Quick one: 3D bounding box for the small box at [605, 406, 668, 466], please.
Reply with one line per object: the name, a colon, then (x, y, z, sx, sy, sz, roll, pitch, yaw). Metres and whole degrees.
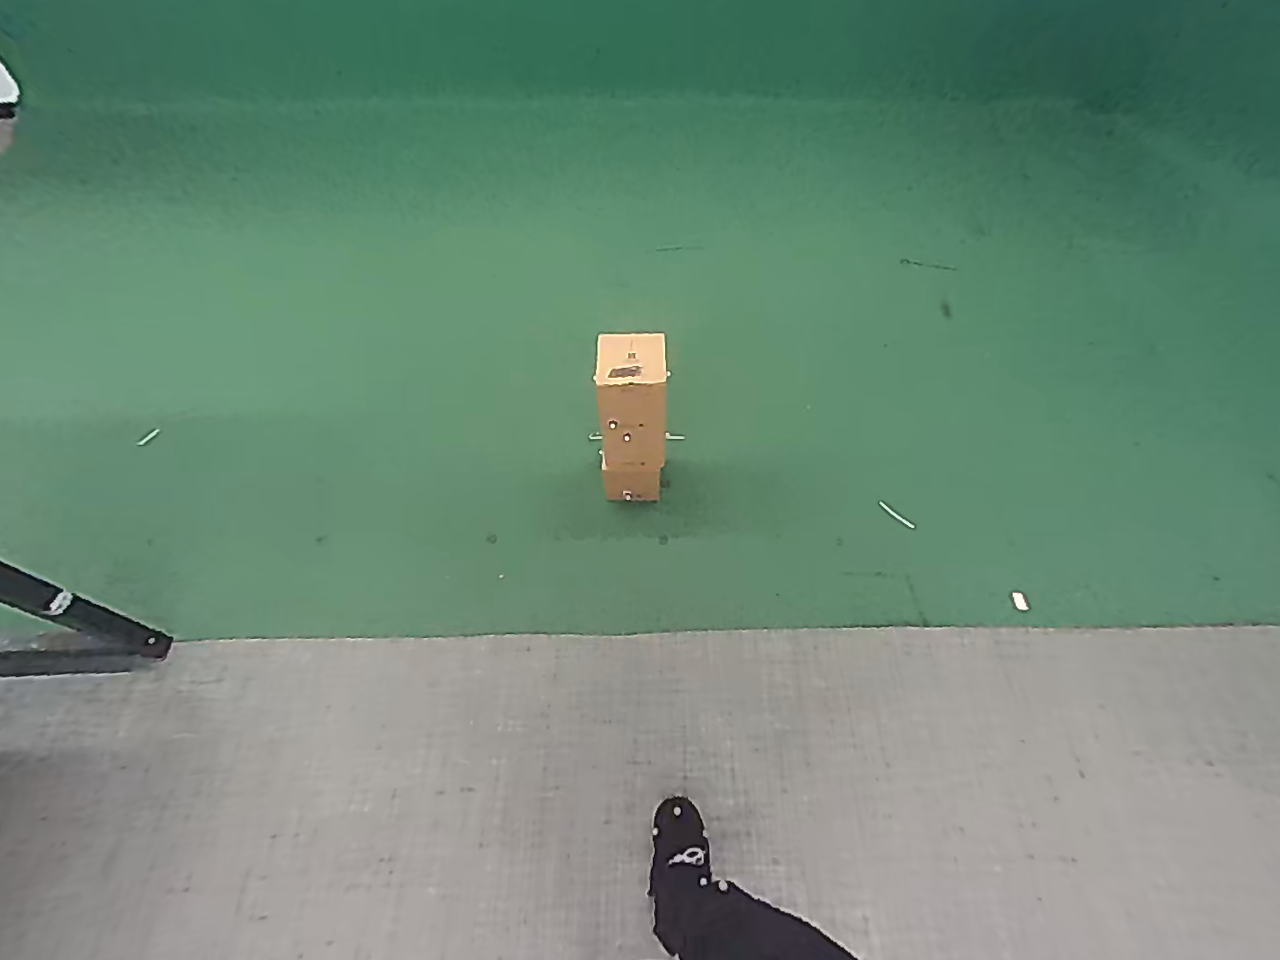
small box: (-0.008, -0.157, 1.497, 0.168, 0.176, 0.179, -1, 55, 1)

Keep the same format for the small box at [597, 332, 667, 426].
small box: (-0.014, -0.249, 1.360, 0.168, 0.176, 0.179, -1, 55, 1)

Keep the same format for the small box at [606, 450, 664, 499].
small box: (-0.014, -0.061, 1.630, 0.168, 0.176, 0.179, -1, 57, 1)
